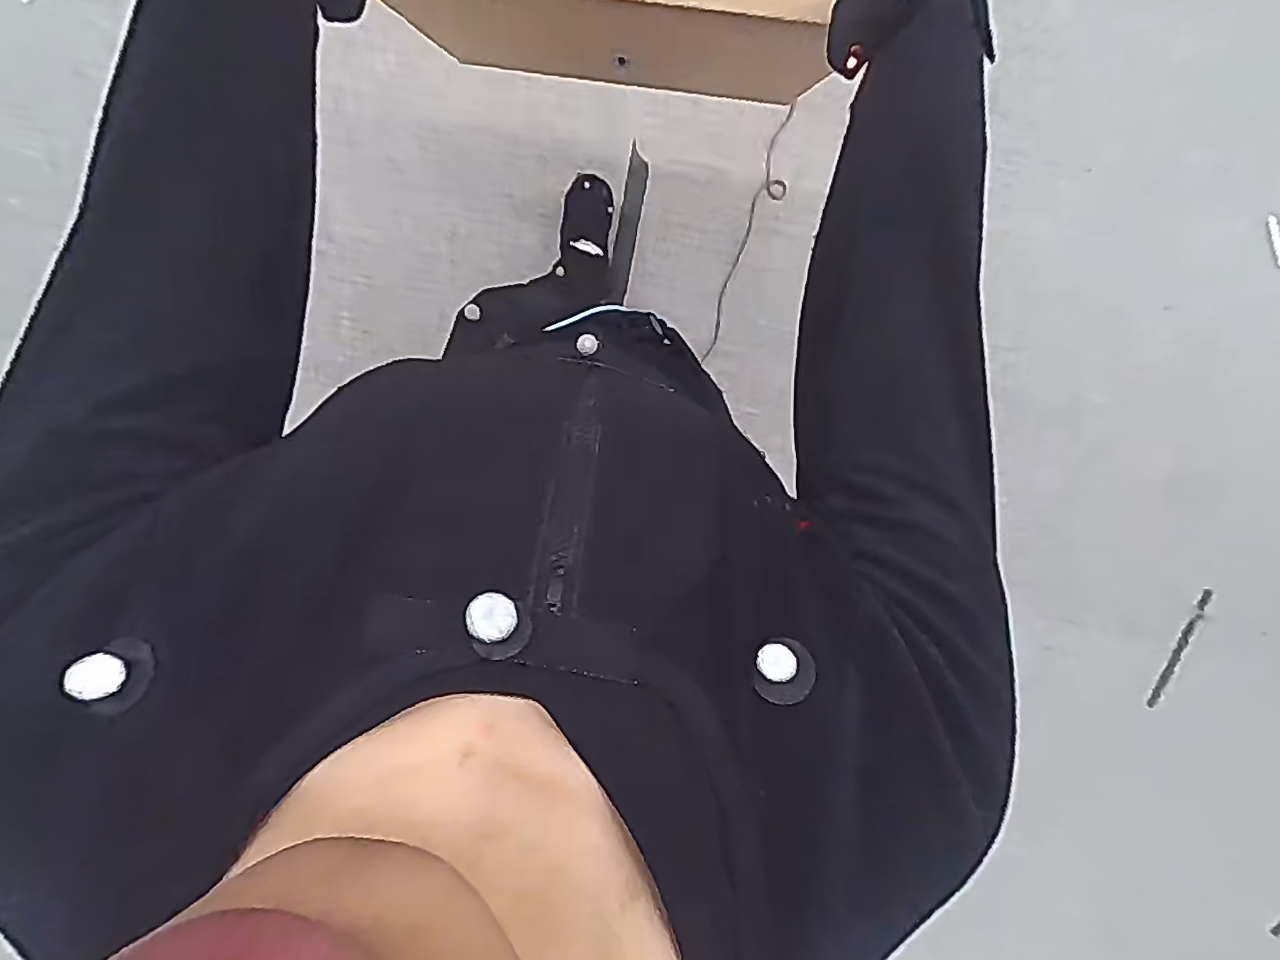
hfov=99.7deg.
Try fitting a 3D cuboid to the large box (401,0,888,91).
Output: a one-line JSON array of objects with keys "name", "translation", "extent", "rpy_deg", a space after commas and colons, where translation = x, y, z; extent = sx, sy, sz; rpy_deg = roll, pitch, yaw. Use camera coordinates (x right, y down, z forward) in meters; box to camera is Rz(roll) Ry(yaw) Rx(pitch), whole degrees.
[{"name": "large box", "translation": [0.002, -0.560, 0.462], "extent": [0.408, 0.320, 0.320], "rpy_deg": [6, 116, -2]}]
